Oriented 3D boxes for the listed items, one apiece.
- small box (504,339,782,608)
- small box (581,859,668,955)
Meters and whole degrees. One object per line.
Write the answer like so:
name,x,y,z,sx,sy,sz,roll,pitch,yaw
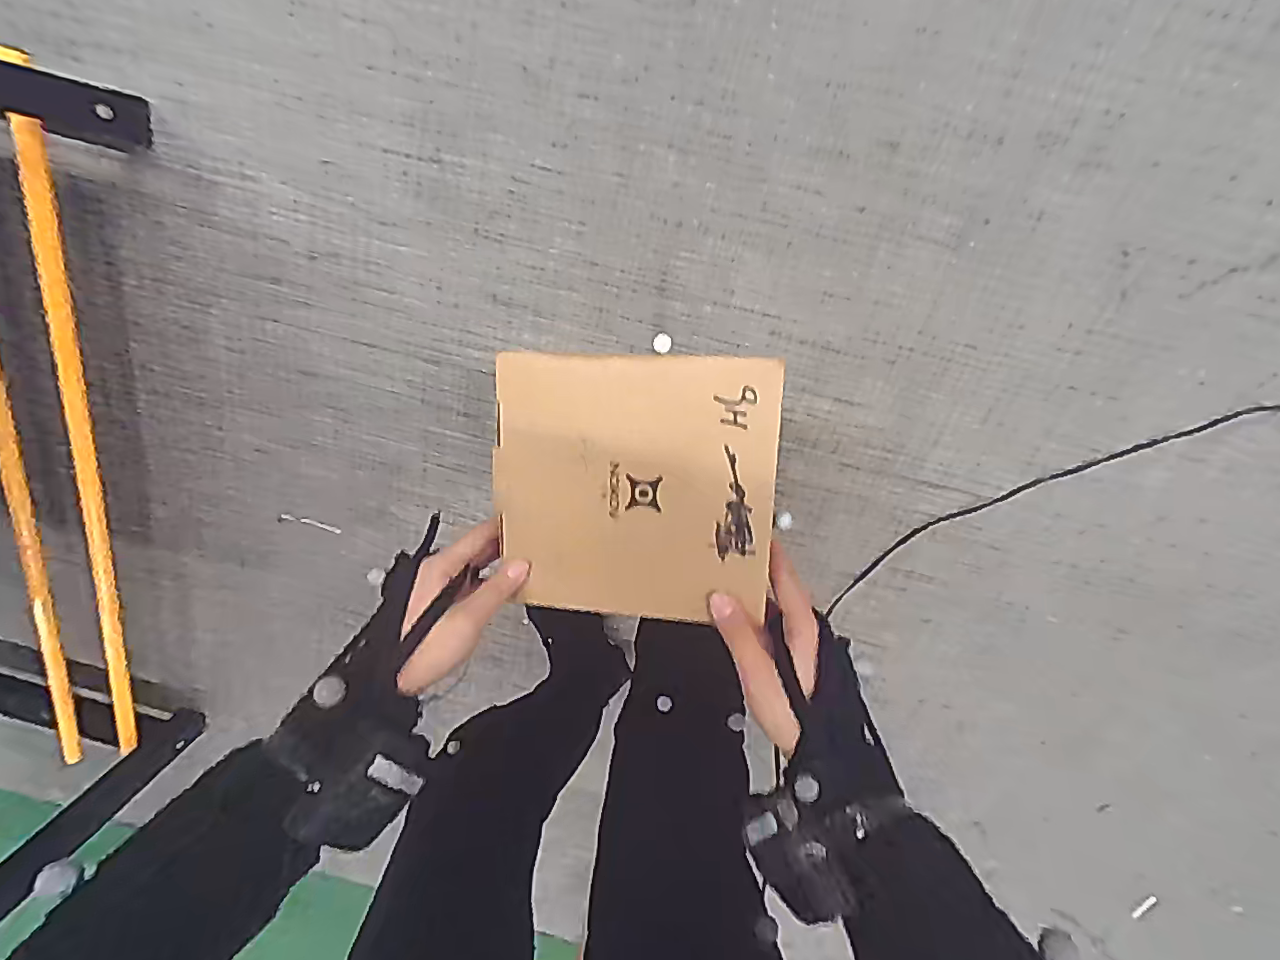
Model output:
small box,0.010,-0.019,0.423,0.179,0.176,0.168,4,103,10
small box,-0.031,0.939,1.137,0.168,0.176,0.179,6,113,5
